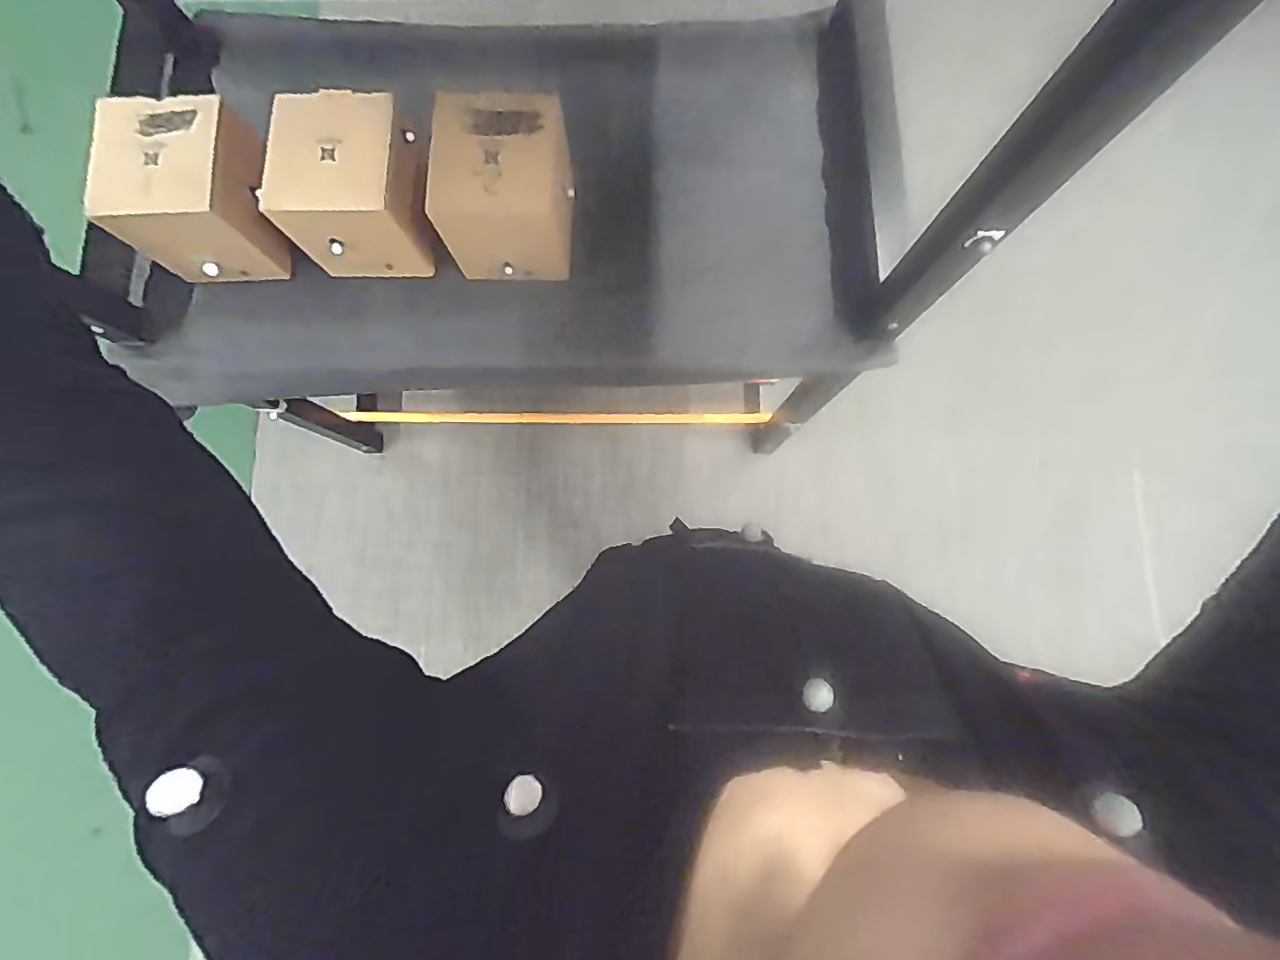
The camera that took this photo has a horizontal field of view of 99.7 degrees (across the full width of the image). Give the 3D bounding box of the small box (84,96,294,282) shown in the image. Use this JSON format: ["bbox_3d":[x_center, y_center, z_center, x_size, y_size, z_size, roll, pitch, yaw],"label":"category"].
[{"bbox_3d":[-0.630,-0.411,0.783,0.168,0.176,0.179,-2,80,0],"label":"small box"}]

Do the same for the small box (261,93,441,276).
[{"bbox_3d":[-0.403,-0.416,0.784,0.168,0.176,0.179,0,80,0],"label":"small box"}]
